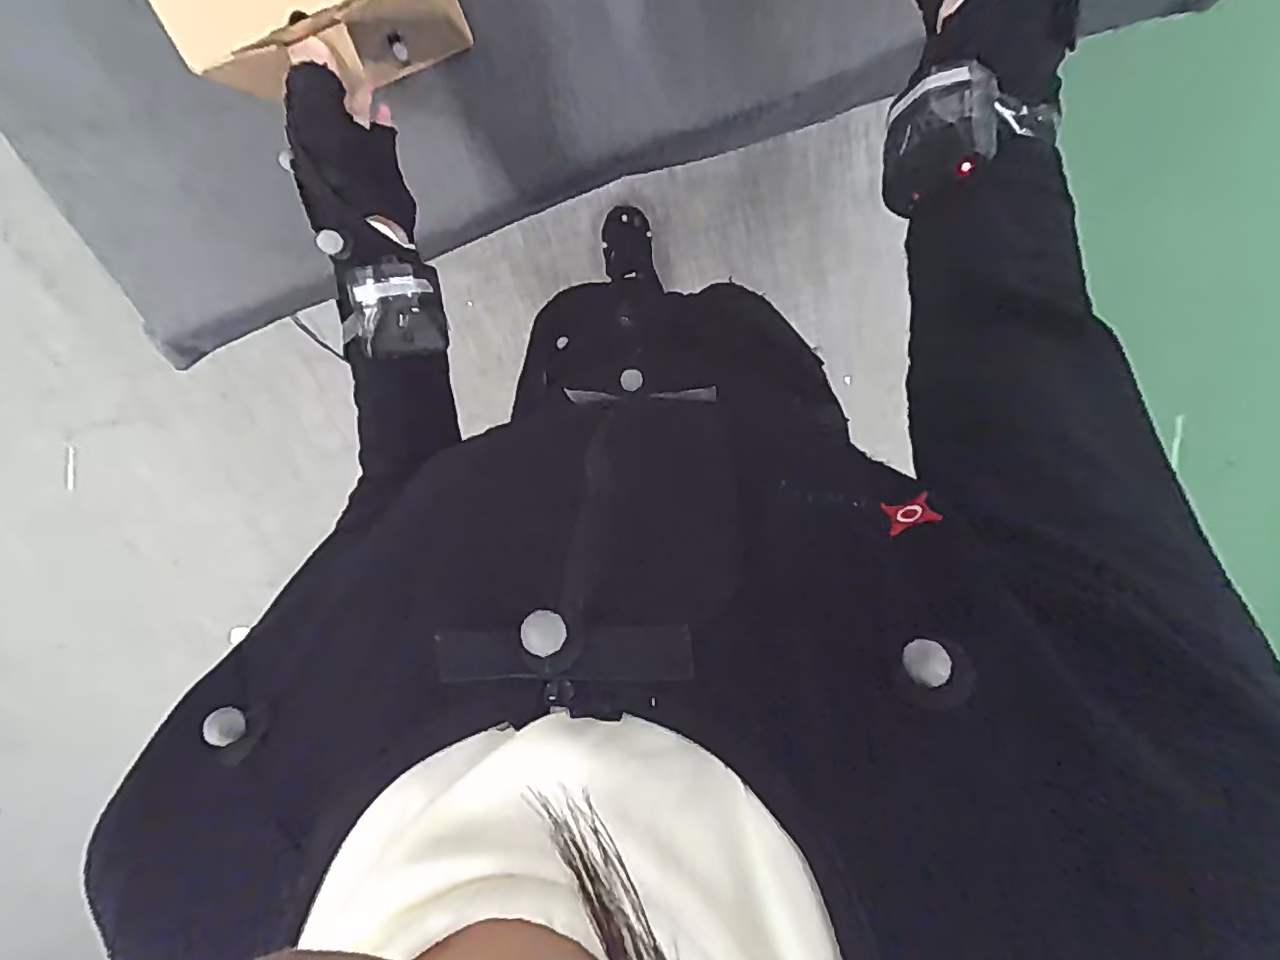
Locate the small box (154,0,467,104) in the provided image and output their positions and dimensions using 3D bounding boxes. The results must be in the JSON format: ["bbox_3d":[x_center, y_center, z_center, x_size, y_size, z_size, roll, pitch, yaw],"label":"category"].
[{"bbox_3d":[-0.252,-0.404,0.394,0.168,0.176,0.179,-19,115,7],"label":"small box"}]

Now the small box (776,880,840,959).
[{"bbox_3d":[0.609,1.617,1.983,0.179,0.176,0.168,-18,111,7],"label":"small box"}]
